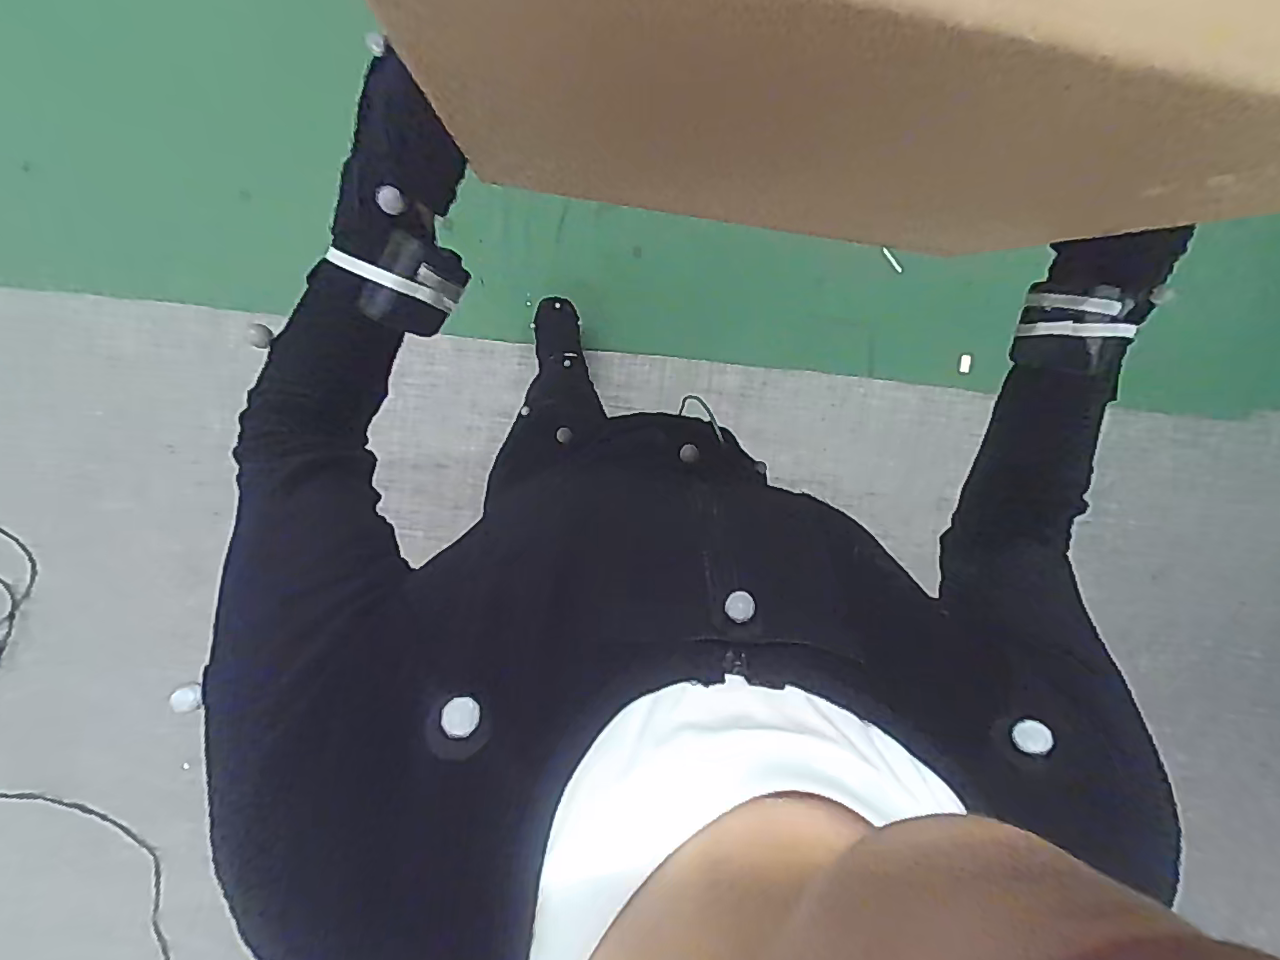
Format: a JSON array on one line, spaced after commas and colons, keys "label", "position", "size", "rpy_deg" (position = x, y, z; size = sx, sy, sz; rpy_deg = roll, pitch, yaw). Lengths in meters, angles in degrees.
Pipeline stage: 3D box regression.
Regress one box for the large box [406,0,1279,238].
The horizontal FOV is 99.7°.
[{"label": "large box", "position": [0.113, -0.321, 0.251], "size": [0.408, 0.320, 0.320], "rpy_deg": [5, 108, -10]}]
